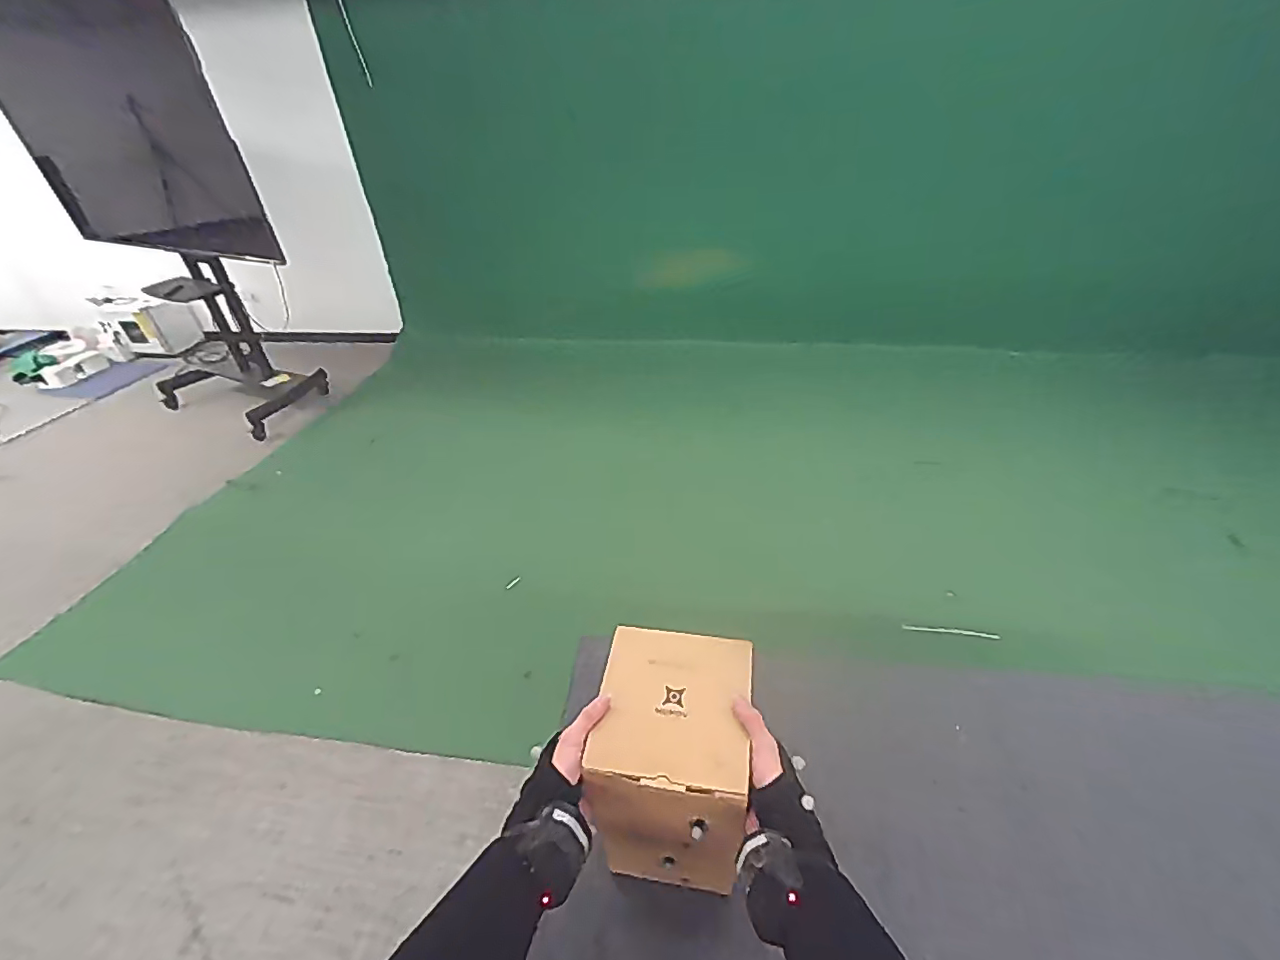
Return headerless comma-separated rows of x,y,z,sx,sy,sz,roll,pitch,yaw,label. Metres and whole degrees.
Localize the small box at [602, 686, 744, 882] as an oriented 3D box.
0.052,0.417,0.744,0.168,0.176,0.179,5,38,9,small box
